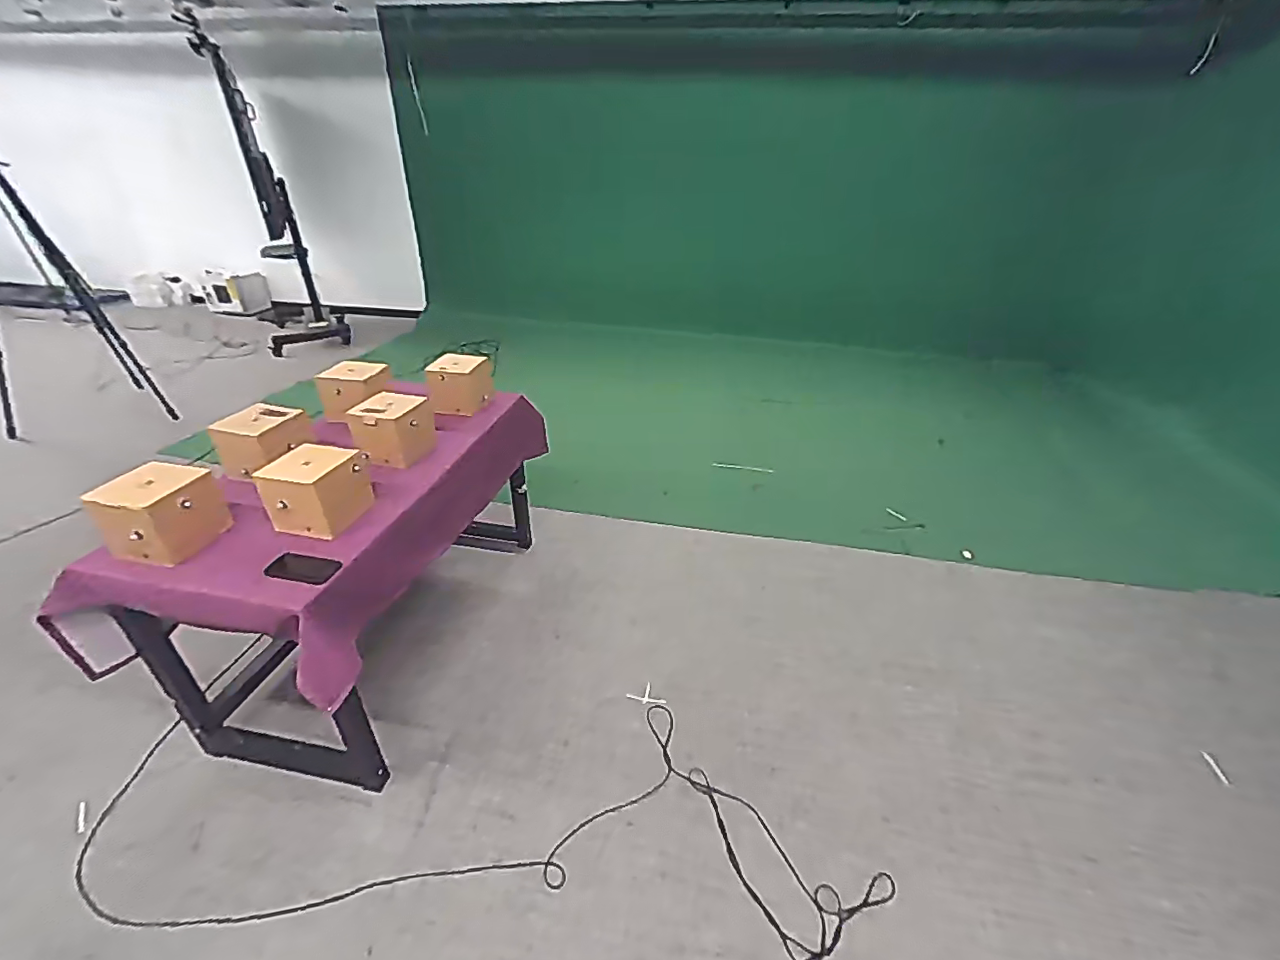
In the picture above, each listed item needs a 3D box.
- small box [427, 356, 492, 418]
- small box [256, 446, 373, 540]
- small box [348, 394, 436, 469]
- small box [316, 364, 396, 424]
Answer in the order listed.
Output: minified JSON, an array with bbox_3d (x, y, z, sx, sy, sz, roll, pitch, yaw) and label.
[{"bbox_3d":[-0.656,-0.343,1.989,0.168,0.176,0.179,6,31,9],"label":"small box"},{"bbox_3d":[-0.809,0.032,1.367,0.168,0.176,0.179,7,31,10],"label":"small box"},{"bbox_3d":[-0.754,-0.148,1.665,0.168,0.176,0.179,9,31,12],"label":"small box"},{"bbox_3d":[-0.987,-0.299,1.902,0.179,0.176,0.168,6,32,7],"label":"small box"}]
